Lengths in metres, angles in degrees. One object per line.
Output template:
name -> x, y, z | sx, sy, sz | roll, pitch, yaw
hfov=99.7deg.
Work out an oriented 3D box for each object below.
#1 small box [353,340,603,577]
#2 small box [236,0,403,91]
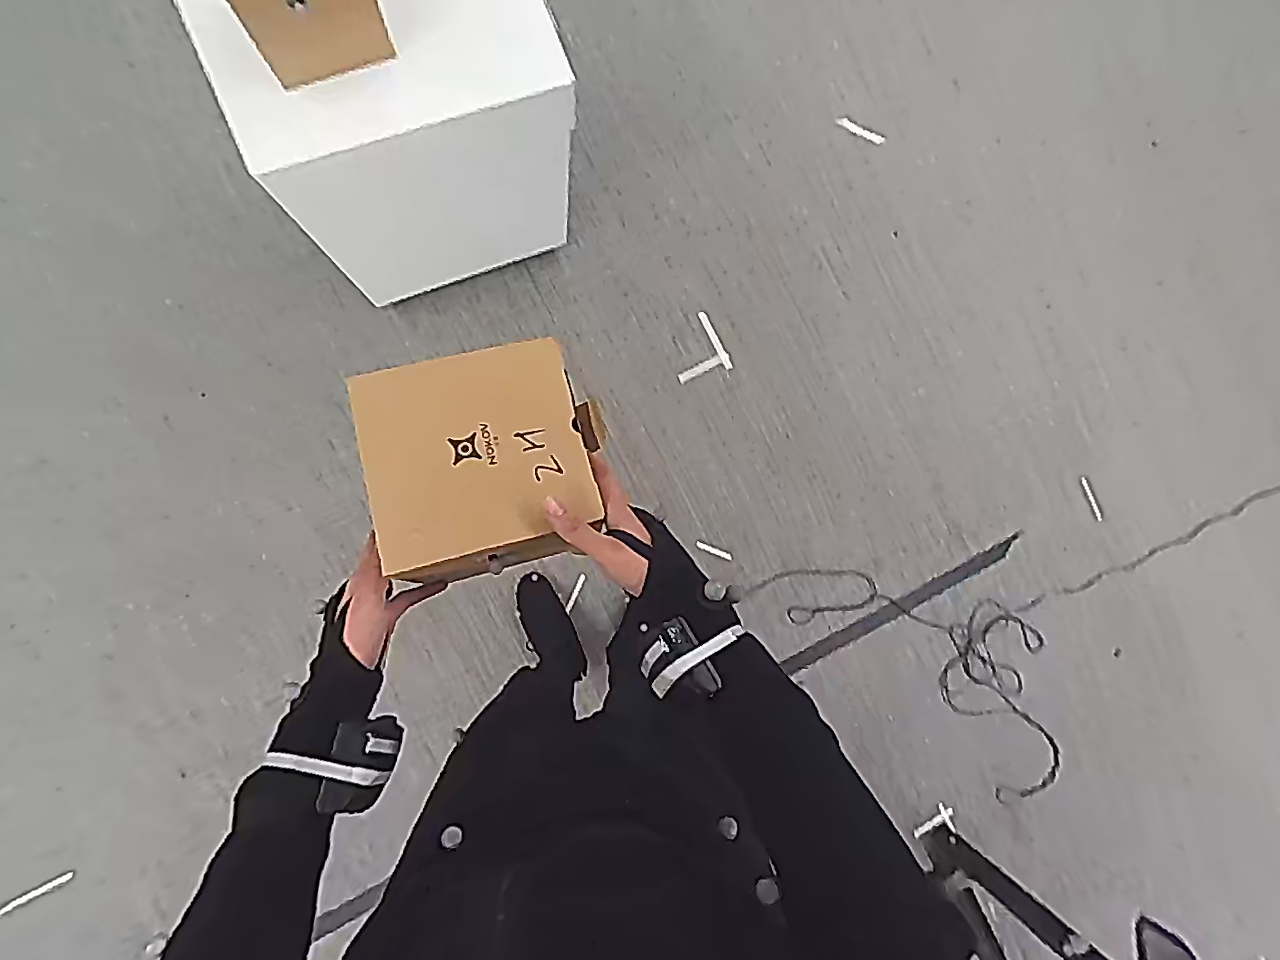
small box -> -0.141, -0.008, 0.516 | 0.179, 0.176, 0.168 | -14, 80, -11
small box -> -0.461, -0.687, 0.746 | 0.179, 0.176, 0.168 | -24, 92, -10
